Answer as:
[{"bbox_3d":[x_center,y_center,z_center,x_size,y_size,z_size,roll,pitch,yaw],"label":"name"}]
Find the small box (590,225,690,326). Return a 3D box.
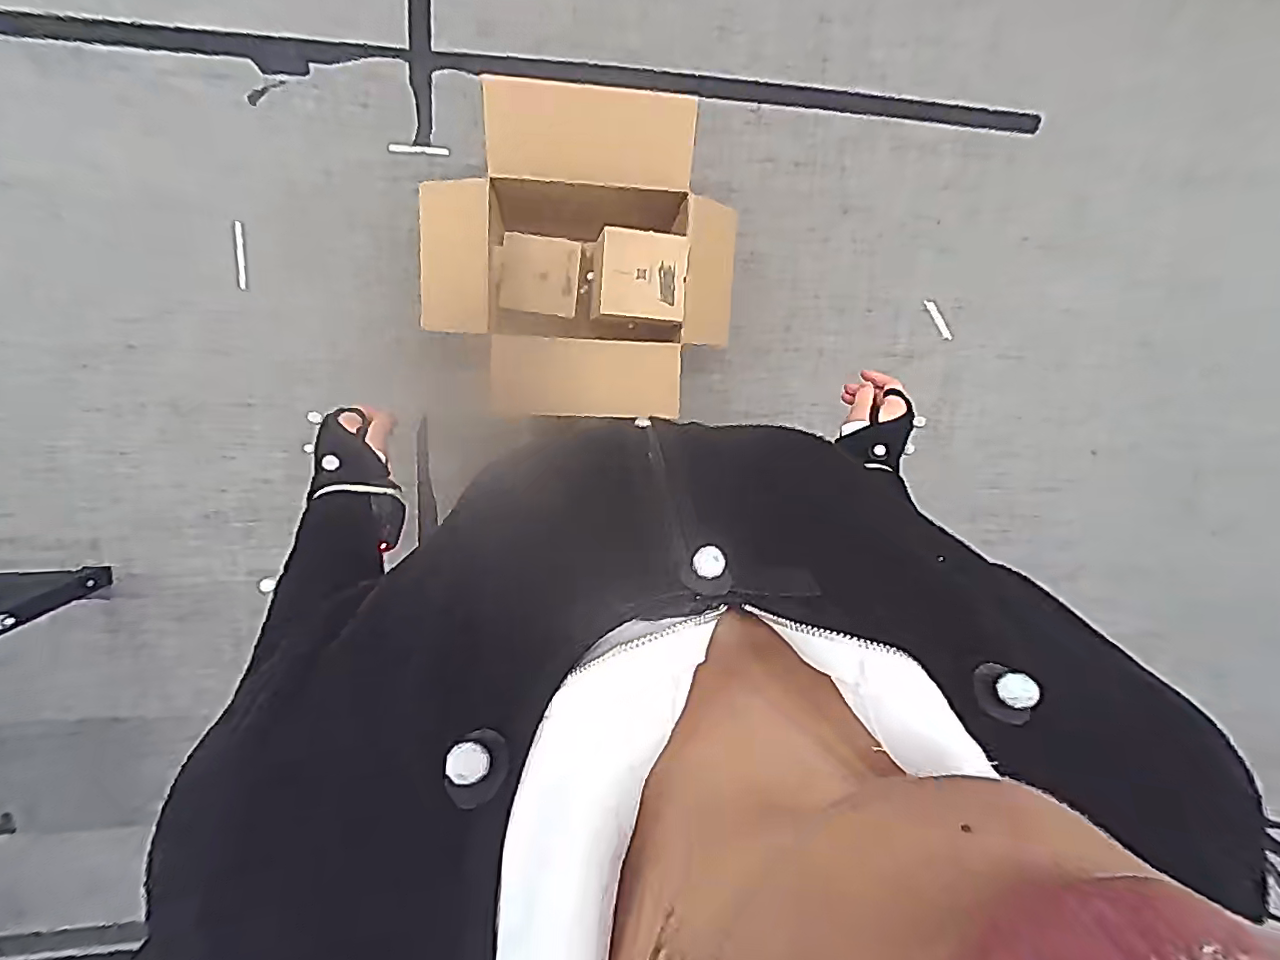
[{"bbox_3d":[-0.007,-0.426,1.154,0.179,0.176,0.168,3,100,-11],"label":"small box"}]
